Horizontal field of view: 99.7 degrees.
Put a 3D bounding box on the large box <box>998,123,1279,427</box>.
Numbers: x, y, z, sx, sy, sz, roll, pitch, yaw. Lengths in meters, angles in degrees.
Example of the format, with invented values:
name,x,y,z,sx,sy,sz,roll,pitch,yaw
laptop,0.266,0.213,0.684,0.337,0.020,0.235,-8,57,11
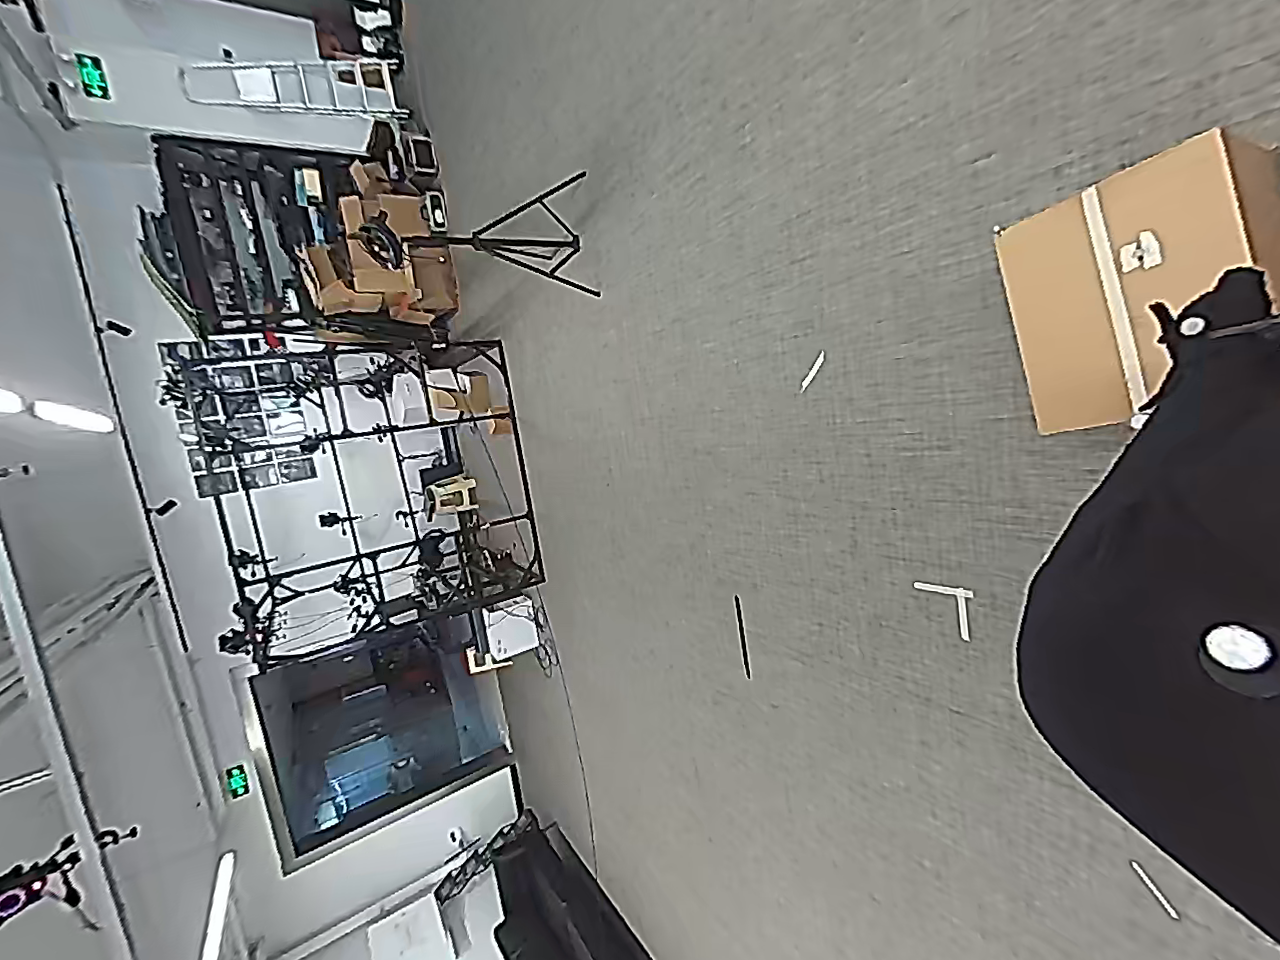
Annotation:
name,x,y,z,sx,sy,sz,roll,pitch,yaw
large box,0.936,-0.338,0.983,0.320,0.320,0.408,-14,88,59
